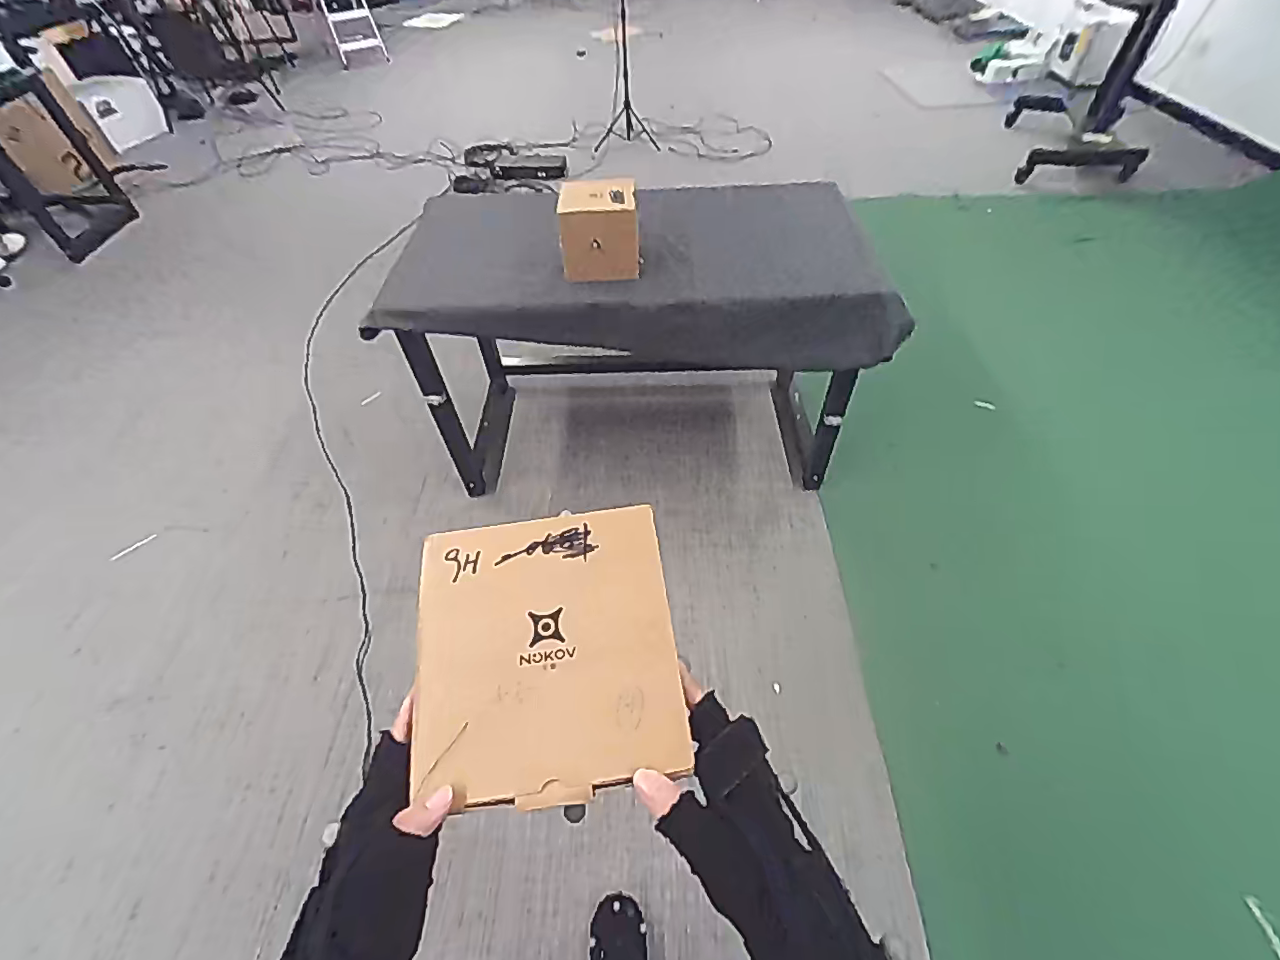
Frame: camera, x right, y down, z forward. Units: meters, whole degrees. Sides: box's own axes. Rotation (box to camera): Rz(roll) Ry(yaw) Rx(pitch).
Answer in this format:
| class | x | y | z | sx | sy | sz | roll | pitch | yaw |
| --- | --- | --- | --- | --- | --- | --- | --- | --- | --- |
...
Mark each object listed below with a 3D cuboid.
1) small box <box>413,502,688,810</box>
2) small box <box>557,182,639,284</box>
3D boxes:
| class | x | y | z | sx | sy | sz | roll | pitch | yaw |
| --- | --- | --- | --- | --- | --- | --- | --- | --- | --- |
| small box | -0.059 | 0.138 | 0.420 | 0.168 | 0.176 | 0.179 | -8 | 62 | -3 |
| small box | -0.092 | -0.587 | 1.290 | 0.179 | 0.176 | 0.168 | -2 | 49 | 2 |
